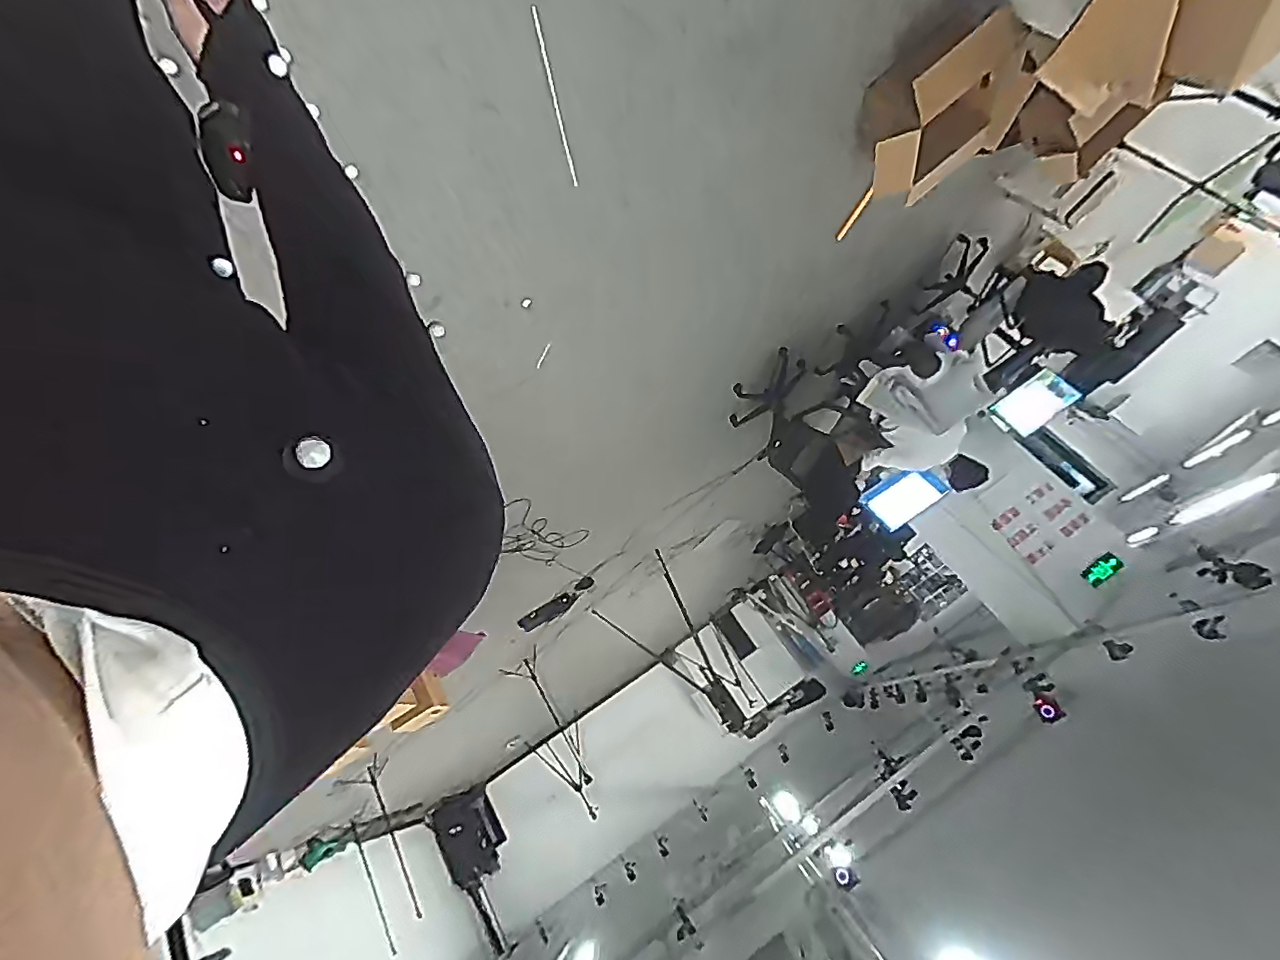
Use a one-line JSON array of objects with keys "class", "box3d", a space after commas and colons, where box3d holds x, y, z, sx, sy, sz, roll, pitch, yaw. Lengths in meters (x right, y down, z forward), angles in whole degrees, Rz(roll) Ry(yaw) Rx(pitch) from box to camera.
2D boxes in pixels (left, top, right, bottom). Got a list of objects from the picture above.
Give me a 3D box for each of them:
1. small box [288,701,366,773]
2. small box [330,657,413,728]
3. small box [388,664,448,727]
[{"class": "small box", "box3d": [-1.140, 0.929, 1.959, 0.179, 0.176, 0.168, -32, 157, -9]}, {"class": "small box", "box3d": [-0.927, 0.731, 1.870, 0.168, 0.176, 0.179, -33, 158, -7]}, {"class": "small box", "box3d": [-0.899, 0.848, 2.135, 0.179, 0.176, 0.168, -31, 156, -8]}]
